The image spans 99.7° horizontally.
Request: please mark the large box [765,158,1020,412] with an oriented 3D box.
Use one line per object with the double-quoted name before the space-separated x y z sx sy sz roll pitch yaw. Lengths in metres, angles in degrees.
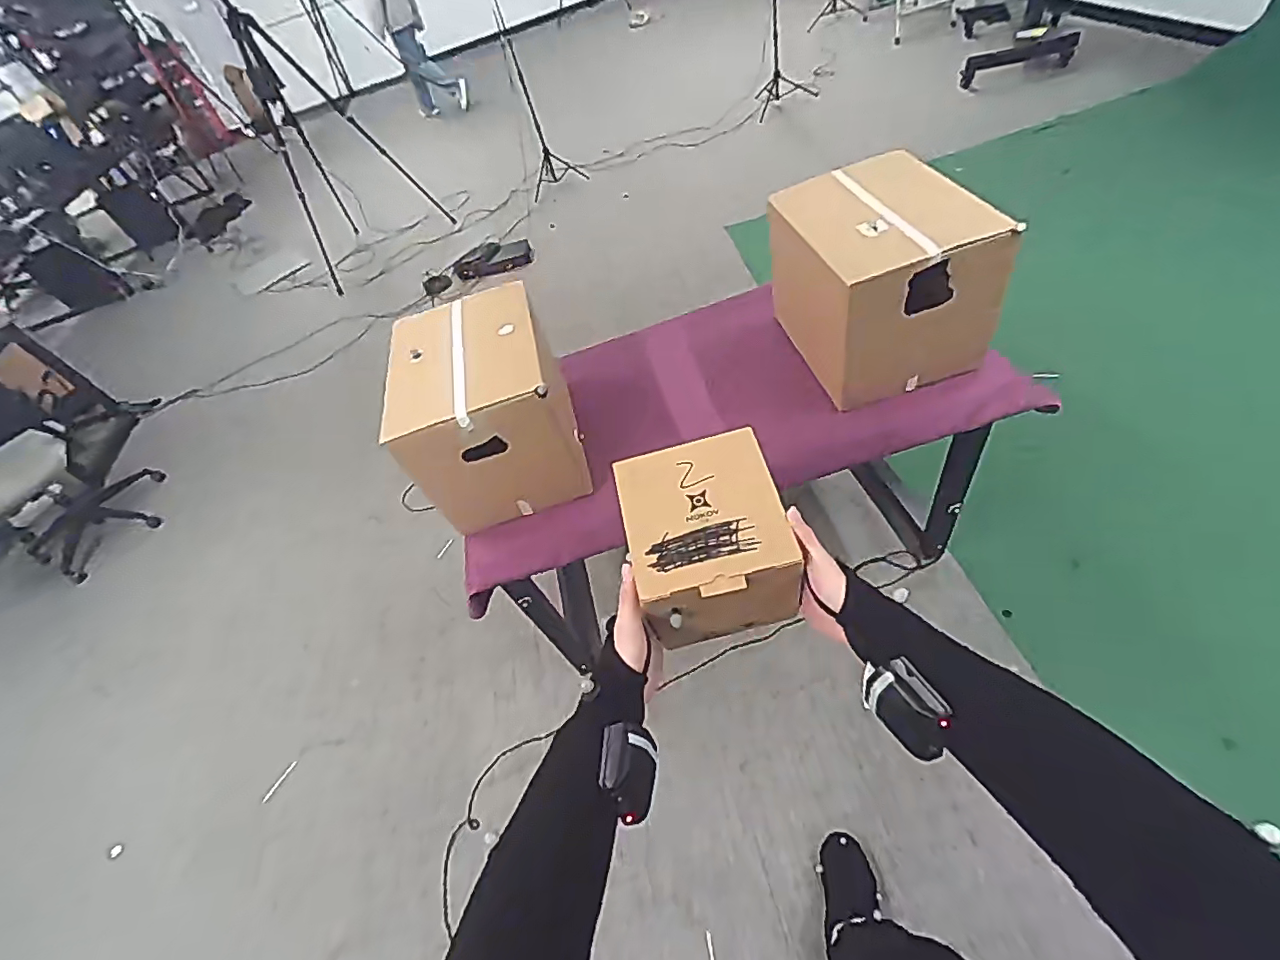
"large box" 0.493 -0.421 1.166 0.320 0.320 0.408 -19 50 2
